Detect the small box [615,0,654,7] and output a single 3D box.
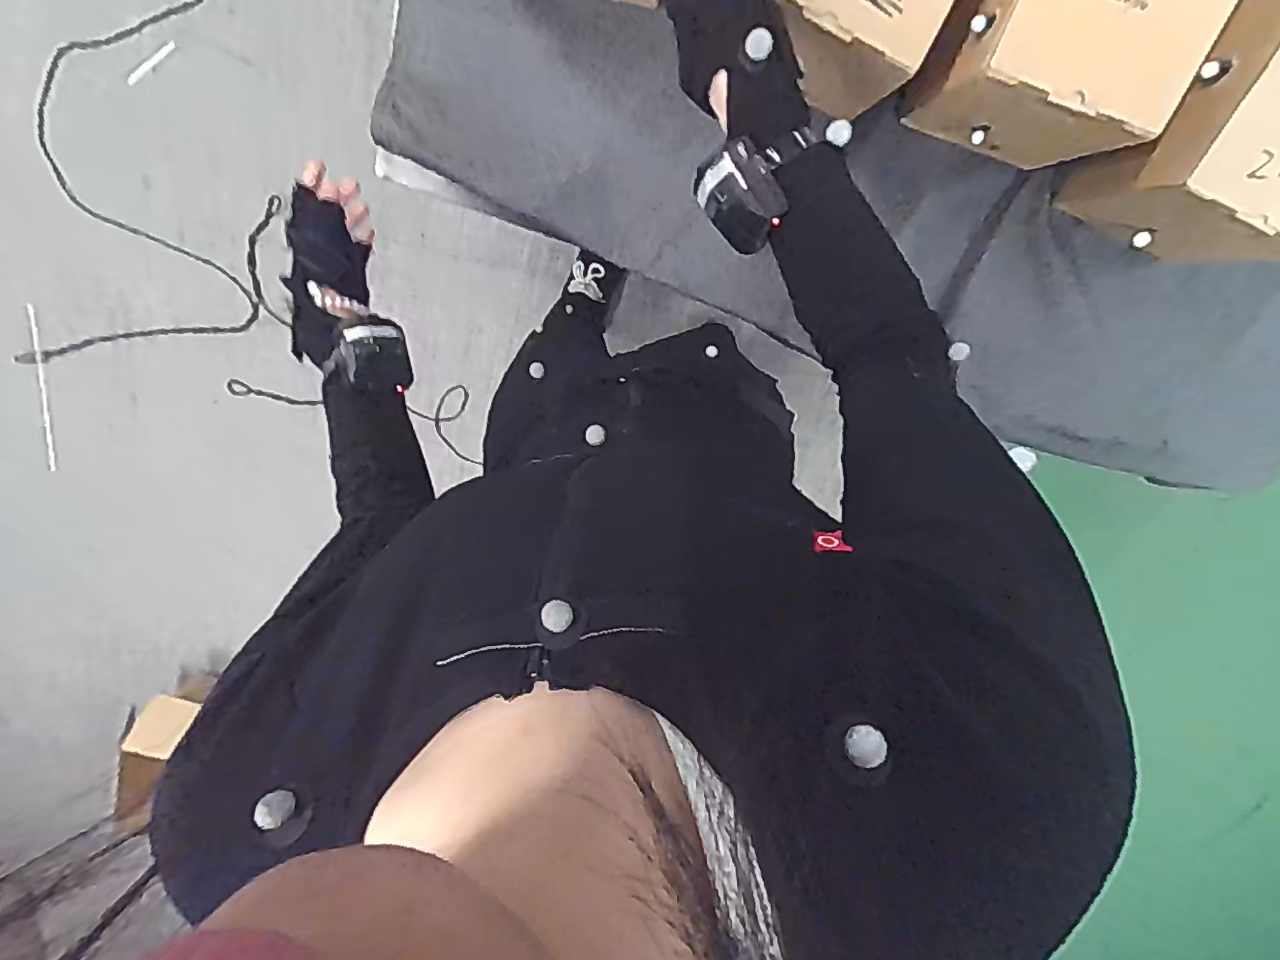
[{"bbox_3d":[-0.048,-0.537,0.440,0.168,0.176,0.179,9,110,-4],"label":"small box"}]
